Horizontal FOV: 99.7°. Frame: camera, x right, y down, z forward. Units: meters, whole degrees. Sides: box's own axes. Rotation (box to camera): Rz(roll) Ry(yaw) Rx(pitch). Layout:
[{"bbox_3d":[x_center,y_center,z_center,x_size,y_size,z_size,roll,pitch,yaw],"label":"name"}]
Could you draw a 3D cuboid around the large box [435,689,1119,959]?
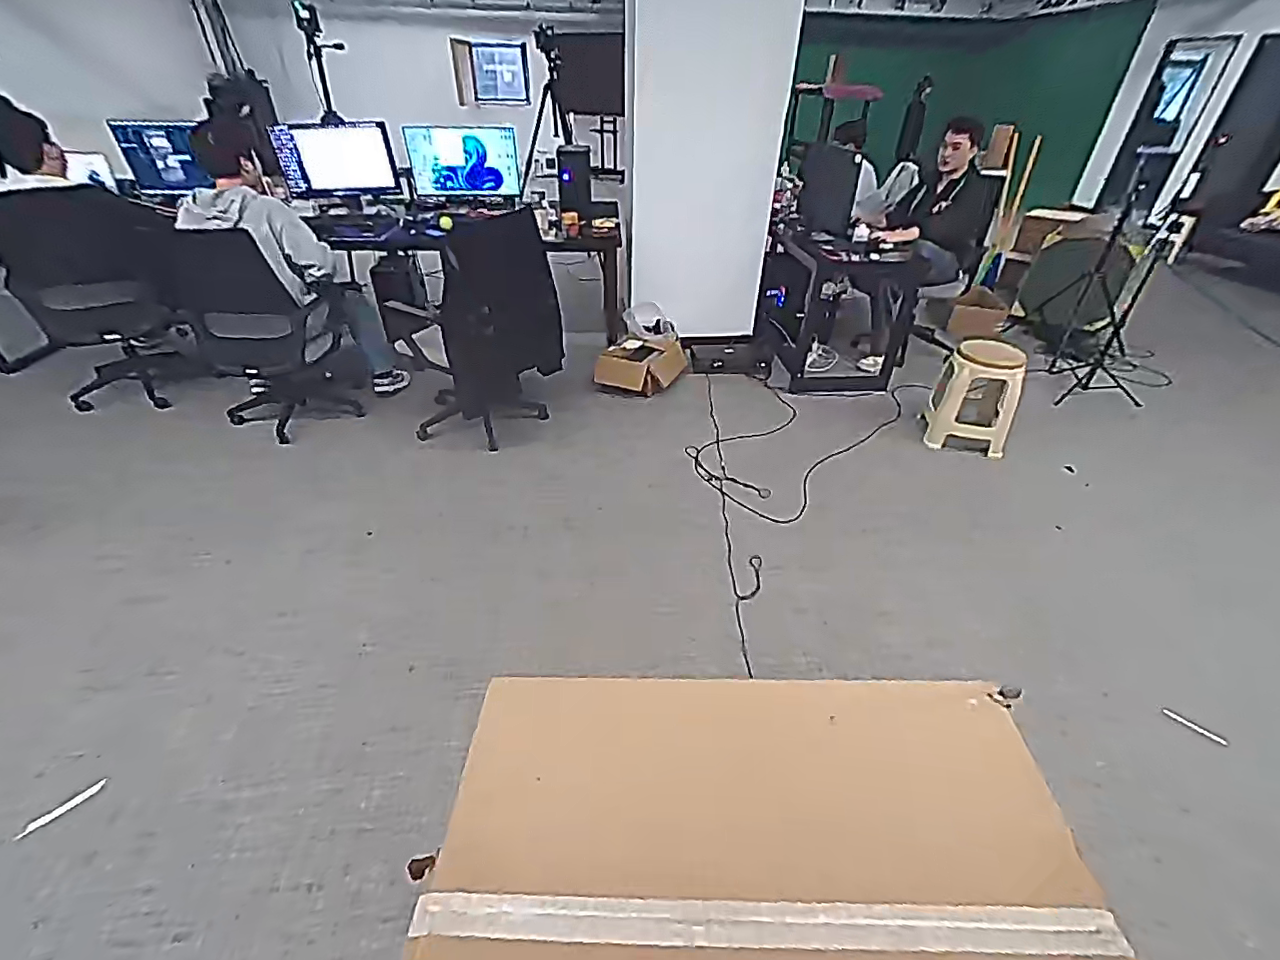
[{"bbox_3d":[0.080,0.386,0.421,0.408,0.320,0.320,-1,40,3],"label":"large box"}]
